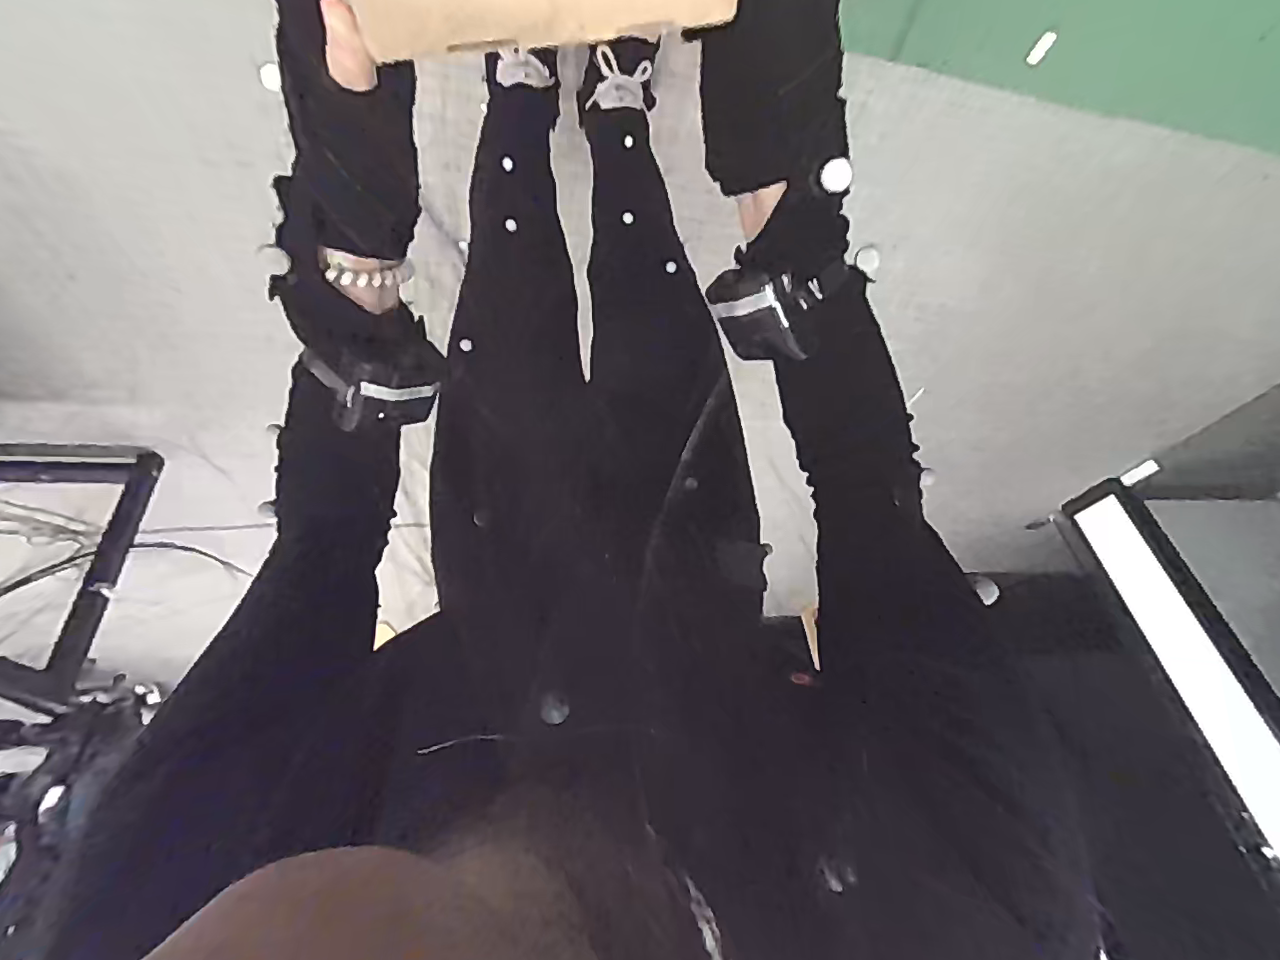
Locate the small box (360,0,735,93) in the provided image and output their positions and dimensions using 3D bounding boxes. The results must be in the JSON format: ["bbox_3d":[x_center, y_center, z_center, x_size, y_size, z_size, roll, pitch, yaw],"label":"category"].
[{"bbox_3d":[-0.058,-0.300,0.220,0.168,0.176,0.179,-16,150,-12],"label":"small box"}]
